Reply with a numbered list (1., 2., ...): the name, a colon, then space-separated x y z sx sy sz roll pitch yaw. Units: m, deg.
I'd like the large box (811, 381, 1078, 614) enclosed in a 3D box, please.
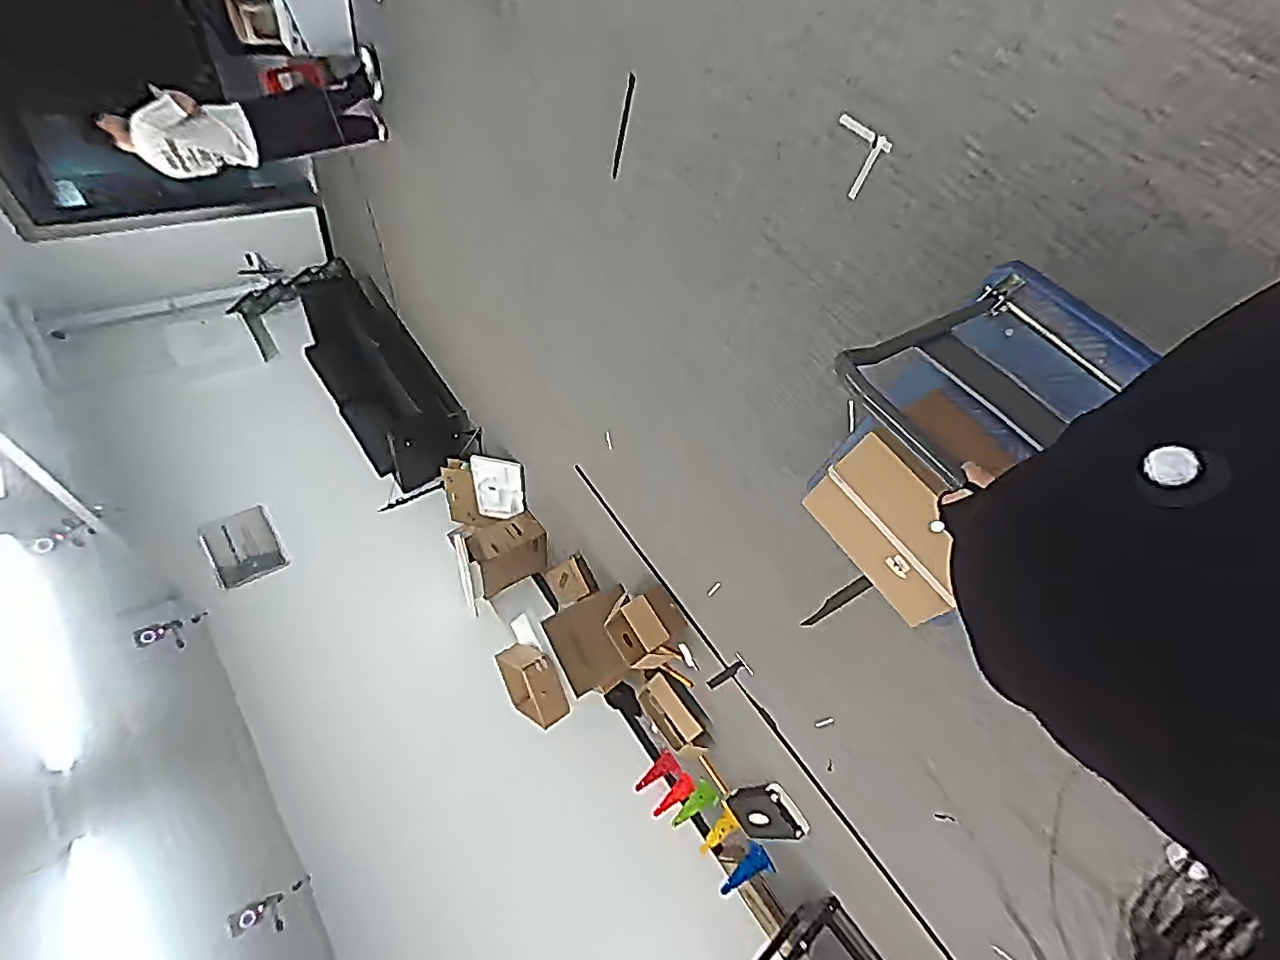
1. large box: 0.714 0.034 1.307 0.408 0.320 0.320 51 148 18
